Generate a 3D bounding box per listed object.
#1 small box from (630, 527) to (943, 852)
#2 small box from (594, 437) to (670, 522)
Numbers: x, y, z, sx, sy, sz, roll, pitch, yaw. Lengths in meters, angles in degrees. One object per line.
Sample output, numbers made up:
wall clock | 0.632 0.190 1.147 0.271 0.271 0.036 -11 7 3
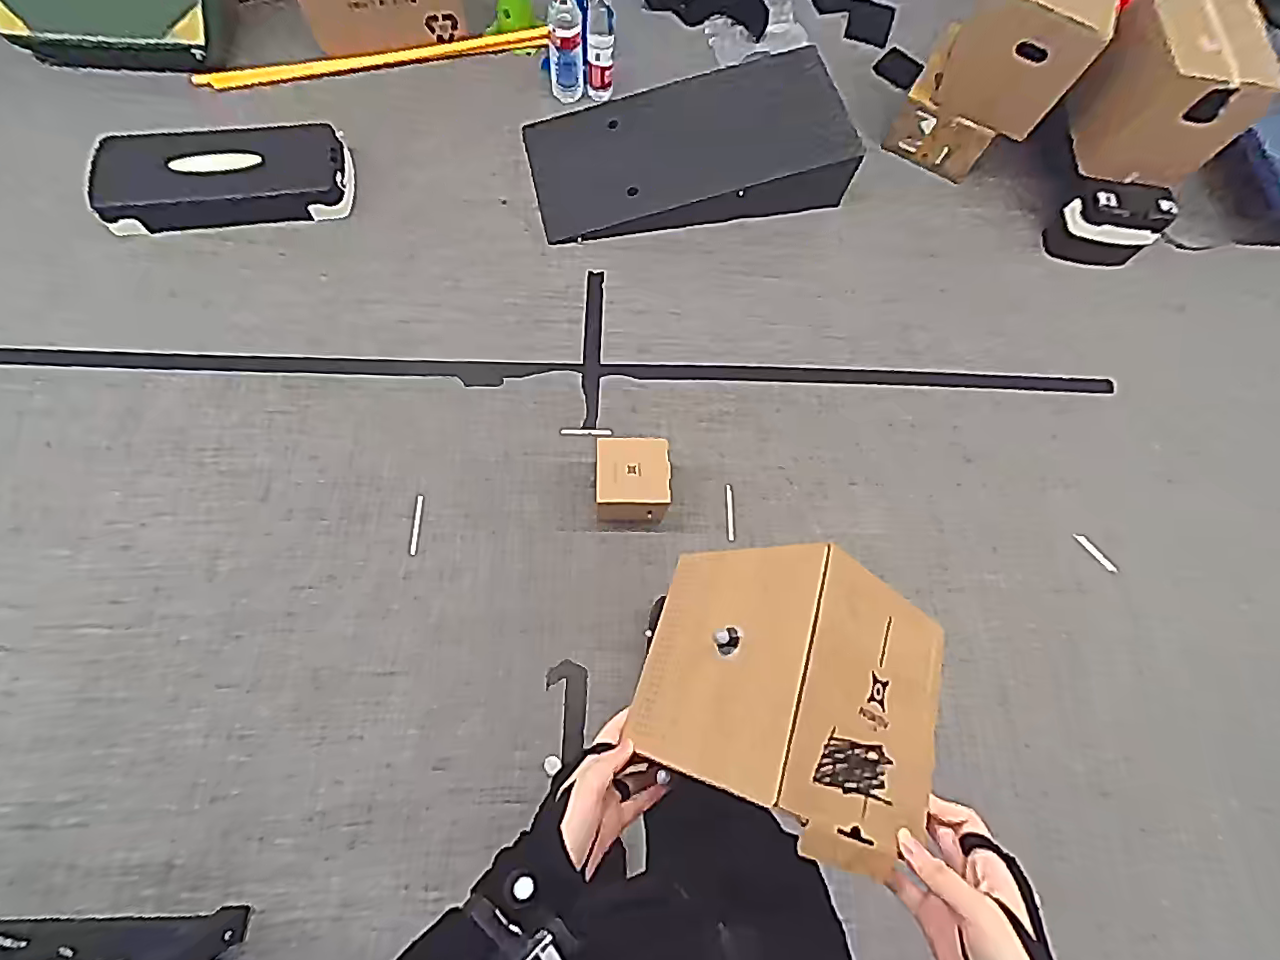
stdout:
small box | 0.116 0.160 0.442 0.168 0.176 0.179 36 60 -27
small box | -0.024 0.003 1.342 0.179 0.176 0.168 1 71 -5
